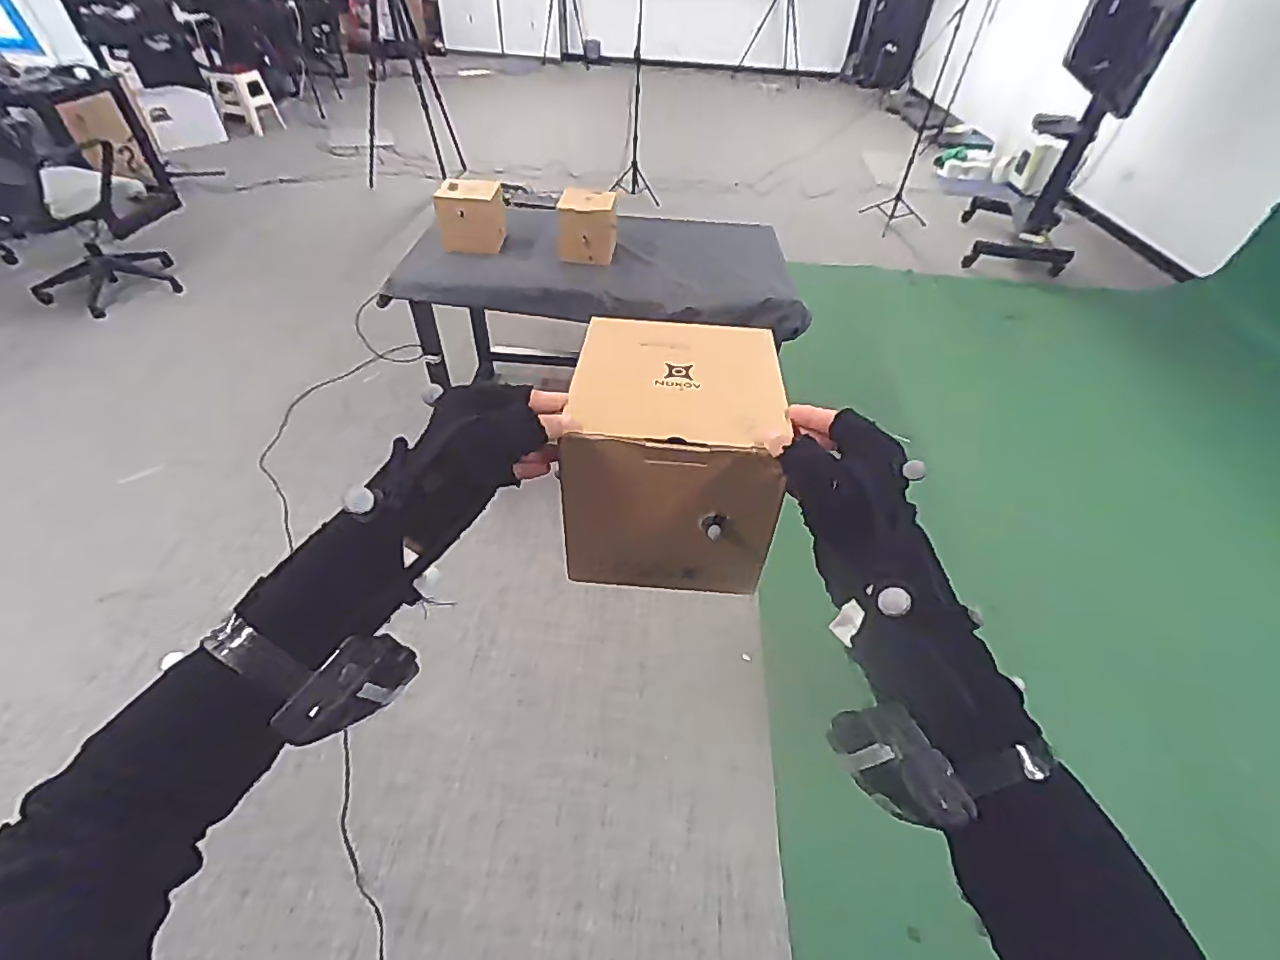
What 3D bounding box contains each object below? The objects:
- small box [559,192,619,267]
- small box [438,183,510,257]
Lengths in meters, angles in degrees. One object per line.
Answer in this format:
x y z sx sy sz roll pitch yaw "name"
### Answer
-0.156 -0.796 1.724 0.168 0.176 0.179 5 45 1 "small box"
-0.525 -0.831 1.731 0.179 0.176 0.168 3 45 -3 "small box"
